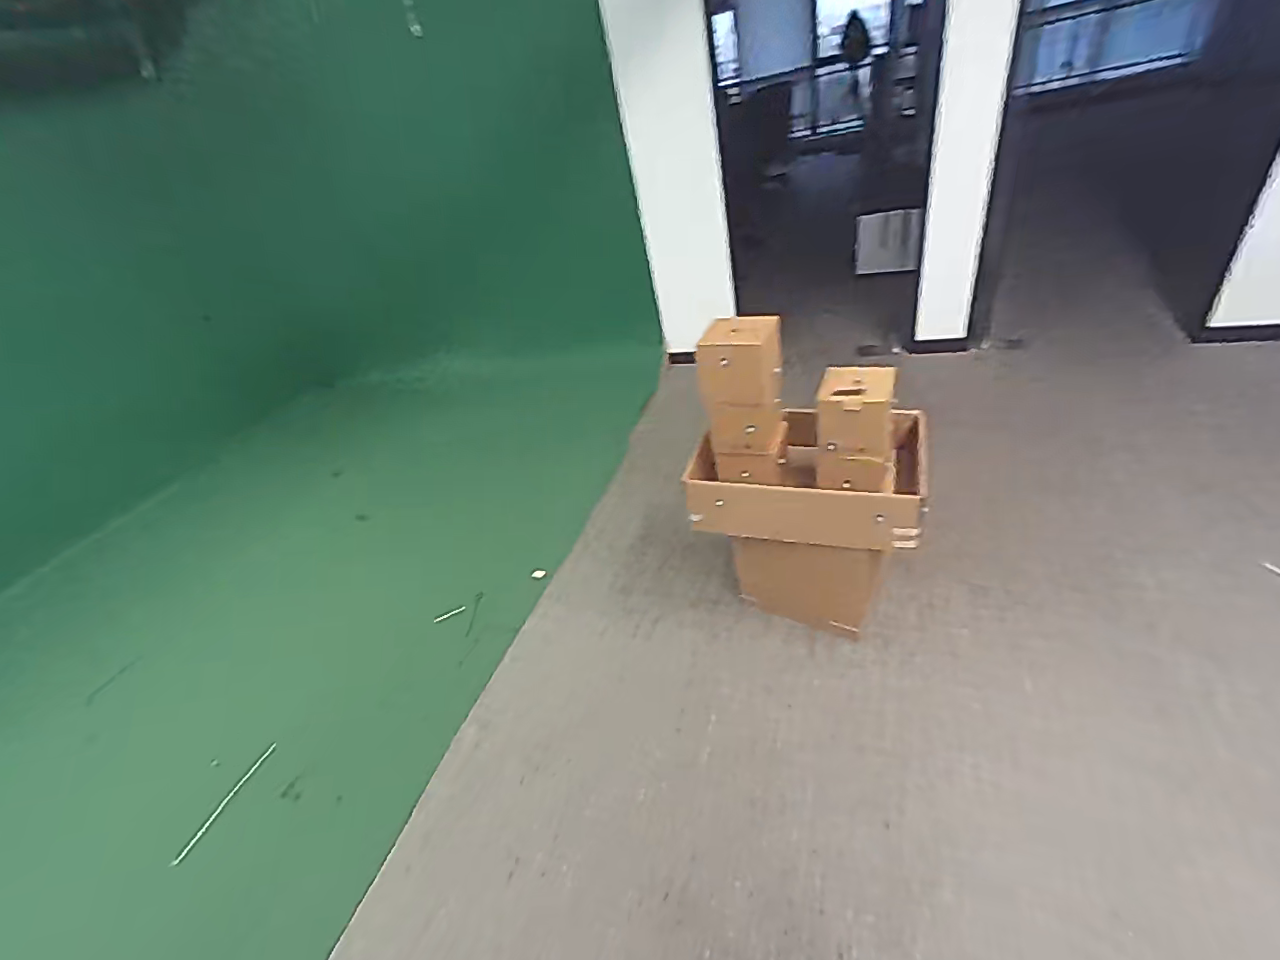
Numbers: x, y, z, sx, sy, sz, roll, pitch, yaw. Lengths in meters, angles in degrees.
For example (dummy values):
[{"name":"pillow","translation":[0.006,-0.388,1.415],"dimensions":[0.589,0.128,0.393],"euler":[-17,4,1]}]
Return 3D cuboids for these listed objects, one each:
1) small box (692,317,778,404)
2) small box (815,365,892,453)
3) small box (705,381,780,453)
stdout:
[{"name":"small box","translation":[0.255,-0.313,1.419],"dimensions":[0.179,0.176,0.168],"euler":[6,42,27]},{"name":"small box","translation":[0.561,-0.184,1.411],"dimensions":[0.168,0.176,0.179],"euler":[5,40,26]},{"name":"small box","translation":[0.295,-0.190,1.521],"dimensions":[0.168,0.176,0.179],"euler":[4,40,24]}]
